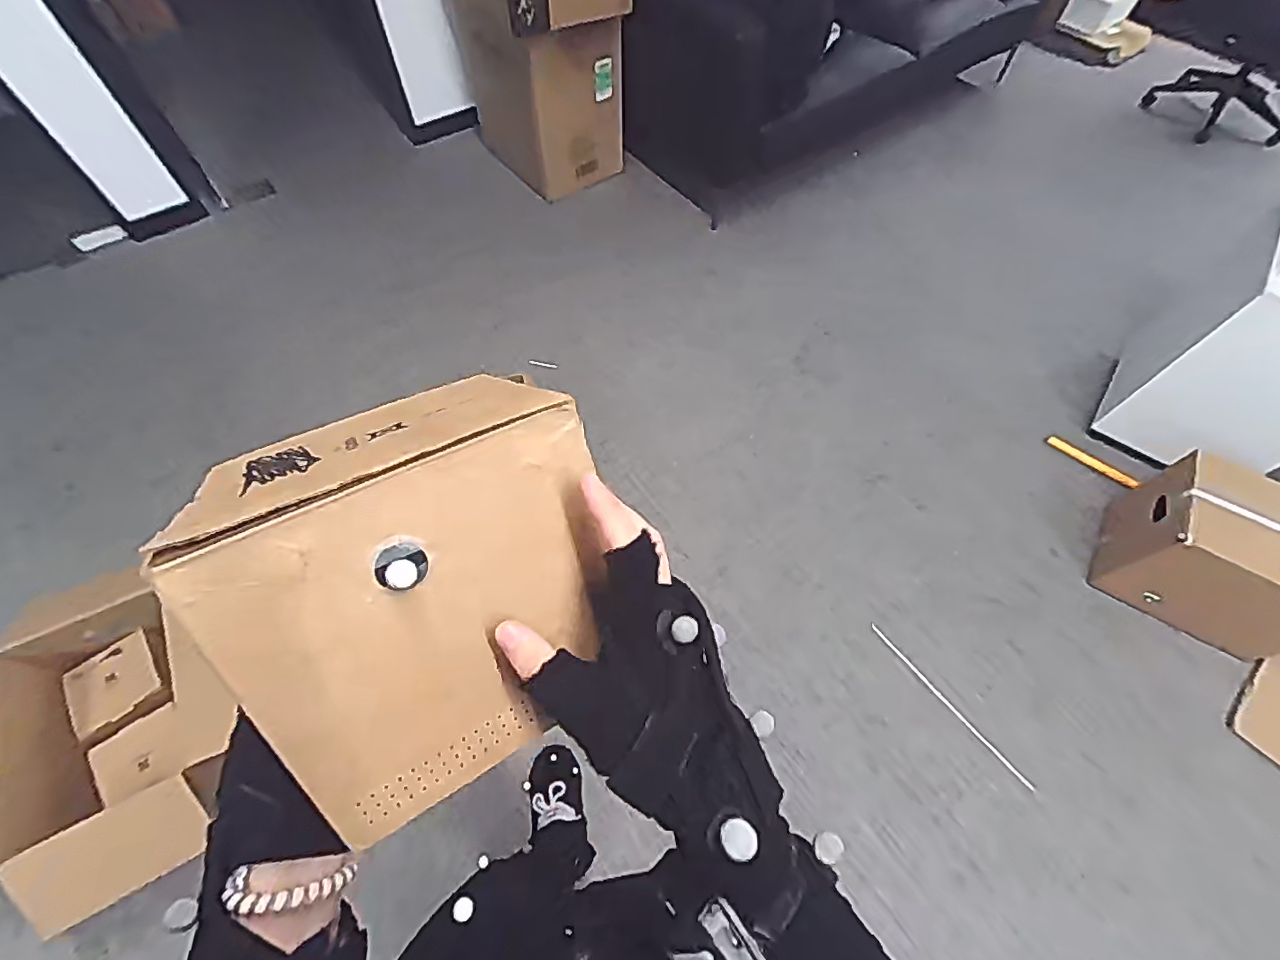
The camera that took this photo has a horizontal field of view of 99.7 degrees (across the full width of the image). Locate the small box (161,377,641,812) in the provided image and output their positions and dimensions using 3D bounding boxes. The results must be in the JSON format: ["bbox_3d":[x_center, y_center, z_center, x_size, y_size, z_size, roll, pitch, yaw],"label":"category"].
[{"bbox_3d":[-0.124,0.049,0.331,0.179,0.176,0.168,-25,25,-22],"label":"small box"}]
